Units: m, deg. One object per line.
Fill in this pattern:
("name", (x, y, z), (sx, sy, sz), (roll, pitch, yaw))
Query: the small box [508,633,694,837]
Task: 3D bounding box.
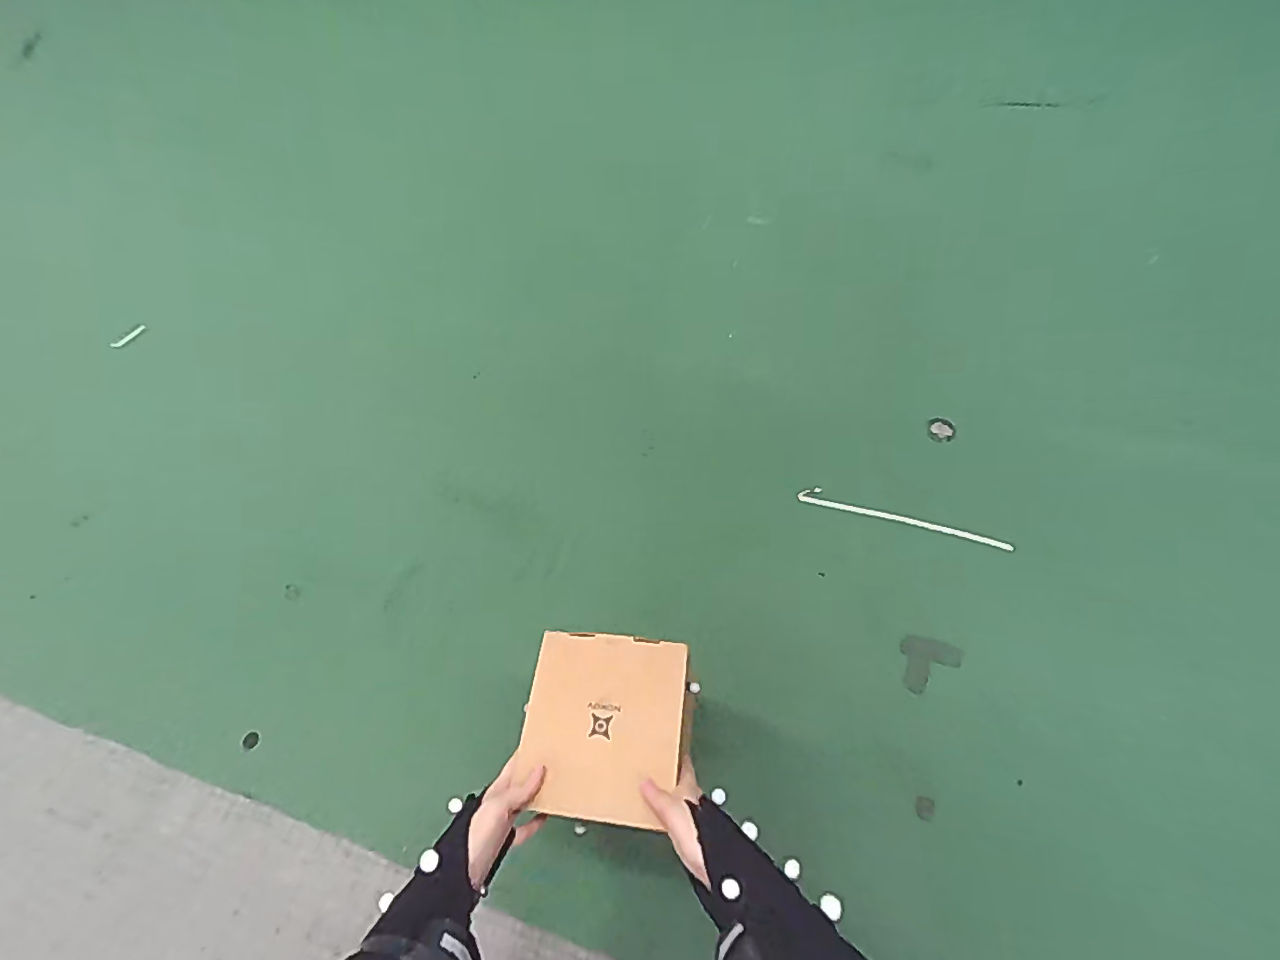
("small box", (-0.028, 0.293, 0.622), (0.168, 0.176, 0.179), (3, 58, 10))
